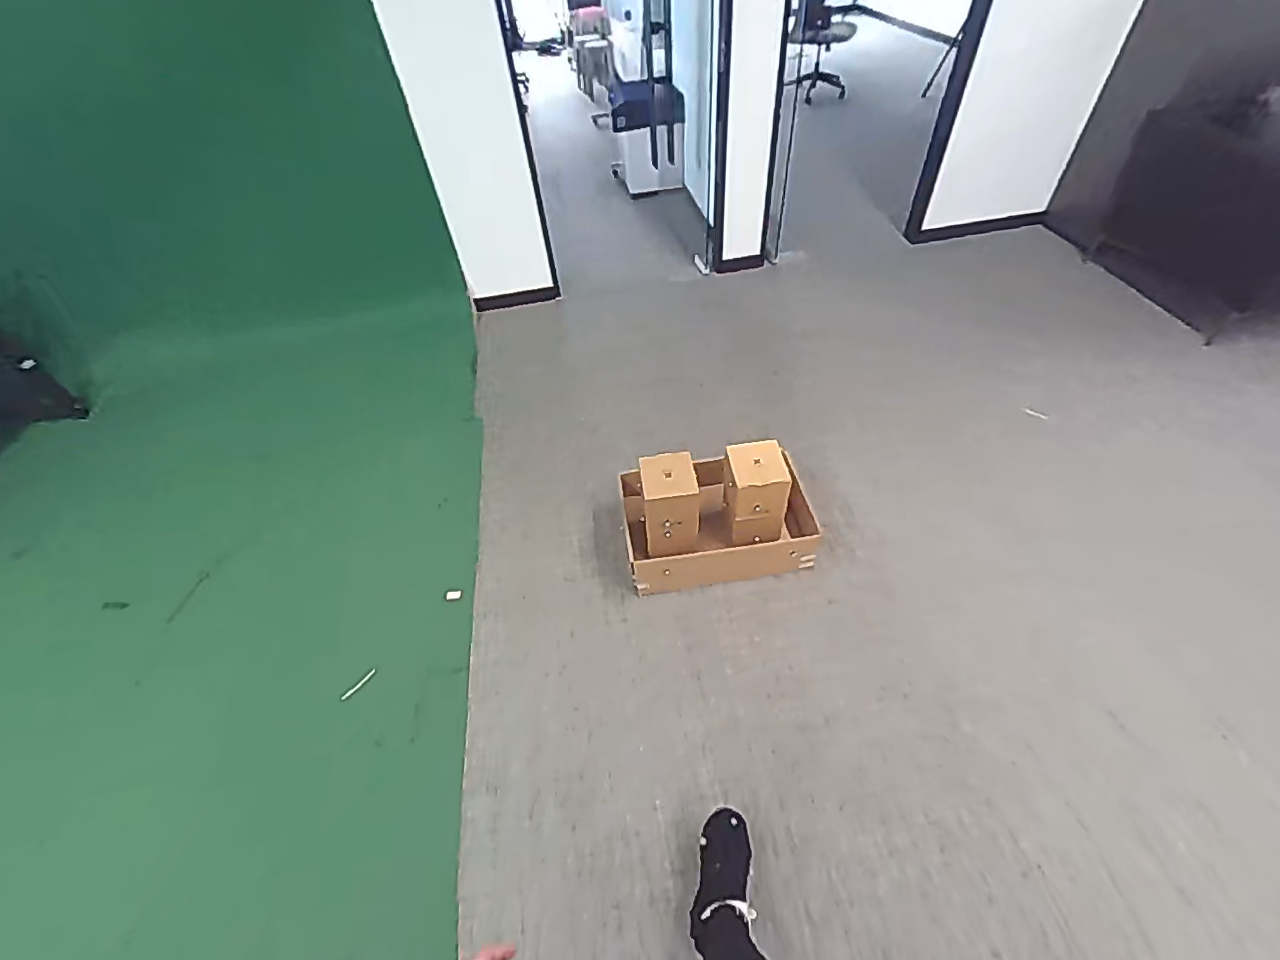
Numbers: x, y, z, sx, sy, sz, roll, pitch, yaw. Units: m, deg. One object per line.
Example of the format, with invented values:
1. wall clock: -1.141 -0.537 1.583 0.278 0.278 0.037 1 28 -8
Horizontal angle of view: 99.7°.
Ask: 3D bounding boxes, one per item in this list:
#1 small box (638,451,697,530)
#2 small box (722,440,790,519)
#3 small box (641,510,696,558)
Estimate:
1. small box: 0.083 0.034 1.696 0.168 0.176 0.179 -7 49 -2
2. small box: 0.358 -0.001 1.707 0.168 0.176 0.179 -7 50 -1
3. small box: 0.091 0.139 1.820 0.168 0.176 0.179 -7 48 -1
